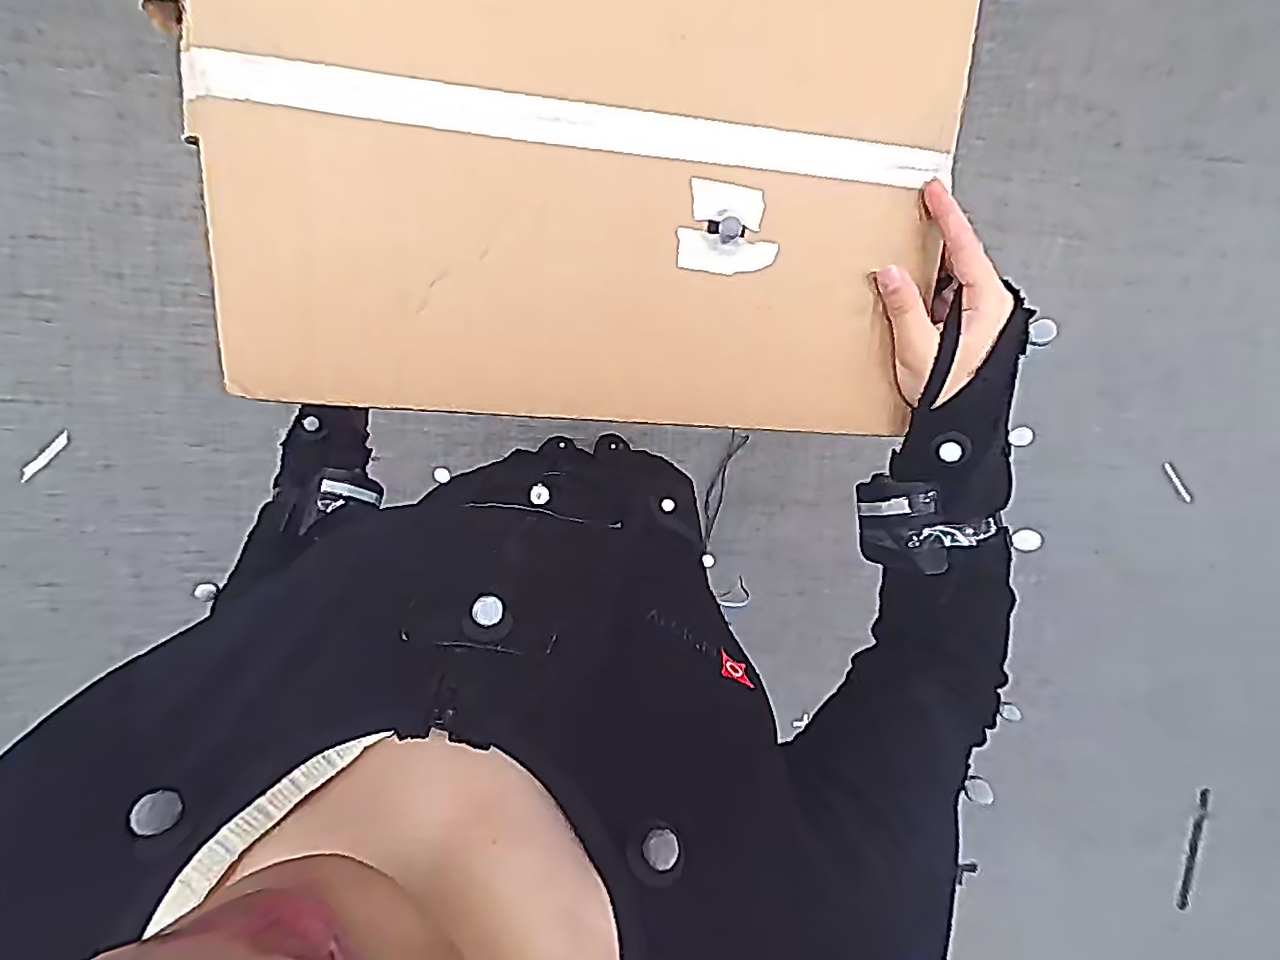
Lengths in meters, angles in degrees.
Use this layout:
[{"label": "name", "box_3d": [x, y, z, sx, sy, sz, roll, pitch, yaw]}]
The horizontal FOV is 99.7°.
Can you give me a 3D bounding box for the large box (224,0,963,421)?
[{"label": "large box", "box_3d": [-0.036, -0.222, 0.448, 0.408, 0.320, 0.320, 2, 103, -10]}]
